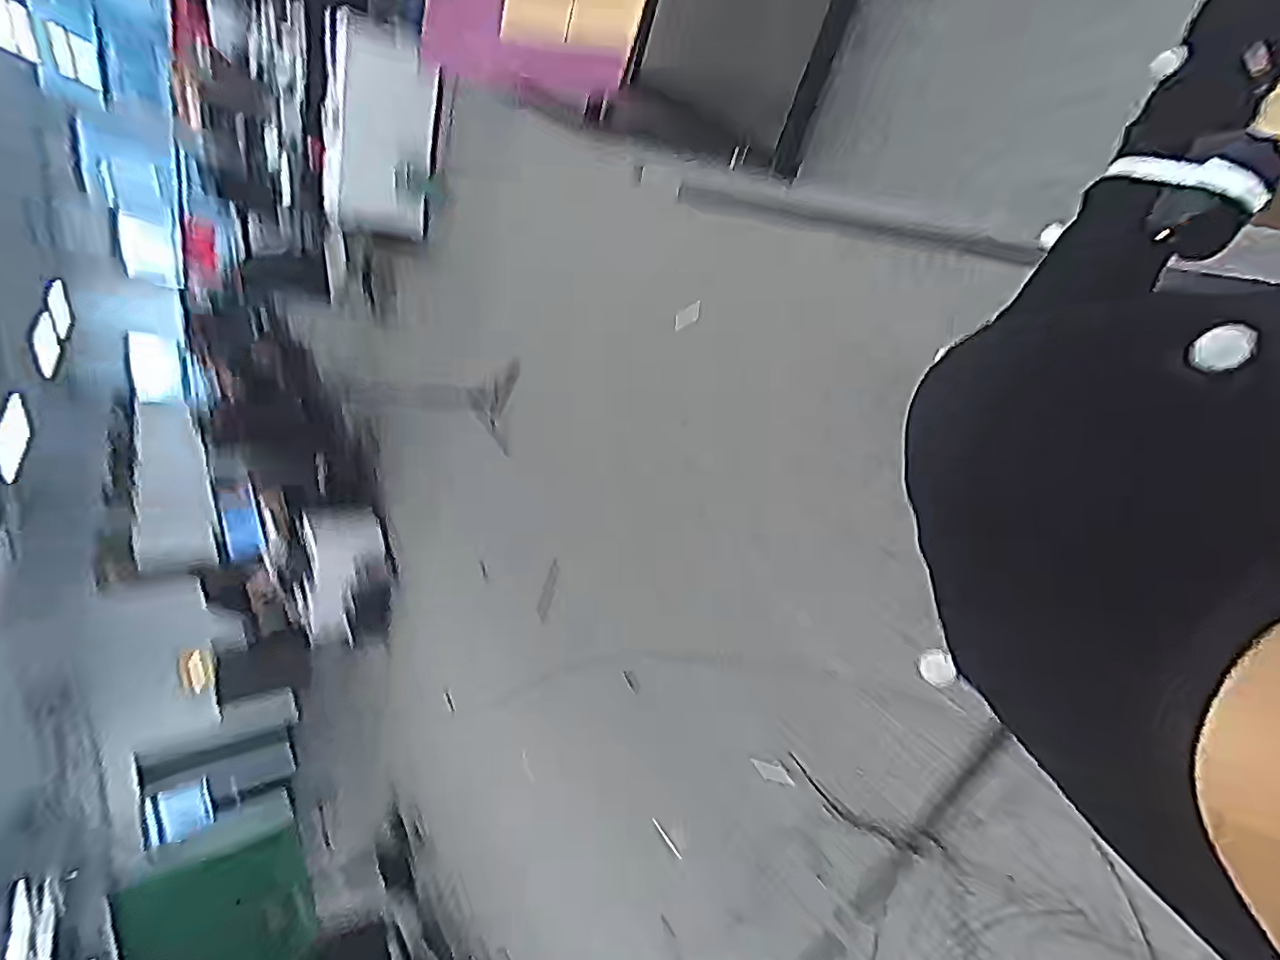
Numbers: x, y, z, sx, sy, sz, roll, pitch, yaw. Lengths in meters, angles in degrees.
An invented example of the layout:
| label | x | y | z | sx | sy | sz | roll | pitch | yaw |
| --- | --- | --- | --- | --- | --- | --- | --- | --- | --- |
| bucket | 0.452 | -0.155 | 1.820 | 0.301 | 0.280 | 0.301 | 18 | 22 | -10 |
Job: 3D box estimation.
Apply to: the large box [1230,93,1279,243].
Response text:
| label | x | y | z | sx | sy | sz | roll | pitch | yaw |
| --- | --- | --- | --- | --- | --- | --- | --- | --- | --- |
| large box | 0.673 | -0.264 | 0.283 | 0.408 | 0.320 | 0.320 | 40 | 126 | 34 |
